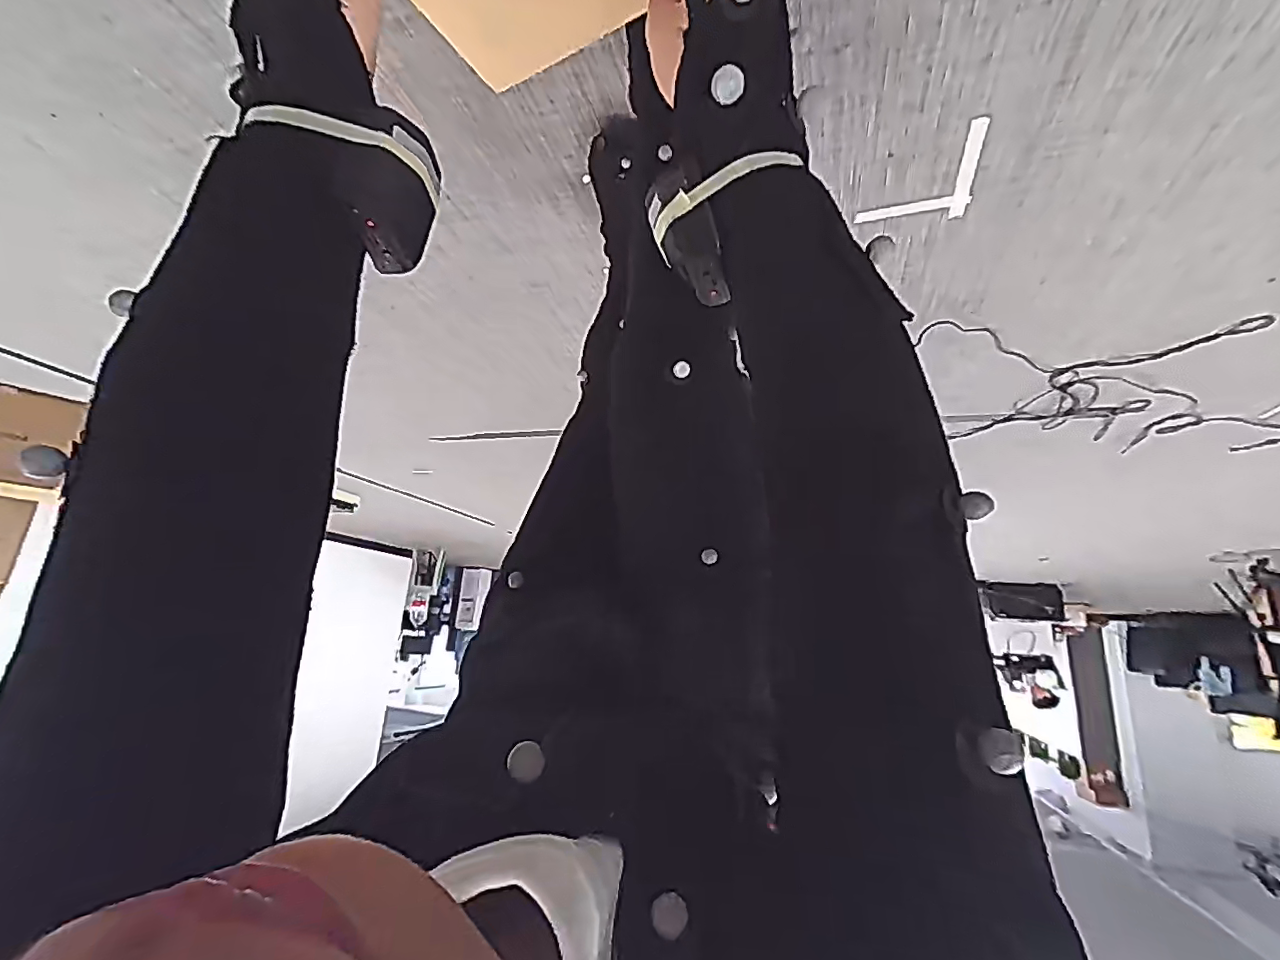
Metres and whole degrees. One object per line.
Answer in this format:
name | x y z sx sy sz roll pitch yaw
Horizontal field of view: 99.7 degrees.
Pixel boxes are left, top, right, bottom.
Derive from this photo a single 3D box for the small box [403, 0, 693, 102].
small box | -0.070 -0.386 0.317 0.179 0.176 0.168 -3 168 30
